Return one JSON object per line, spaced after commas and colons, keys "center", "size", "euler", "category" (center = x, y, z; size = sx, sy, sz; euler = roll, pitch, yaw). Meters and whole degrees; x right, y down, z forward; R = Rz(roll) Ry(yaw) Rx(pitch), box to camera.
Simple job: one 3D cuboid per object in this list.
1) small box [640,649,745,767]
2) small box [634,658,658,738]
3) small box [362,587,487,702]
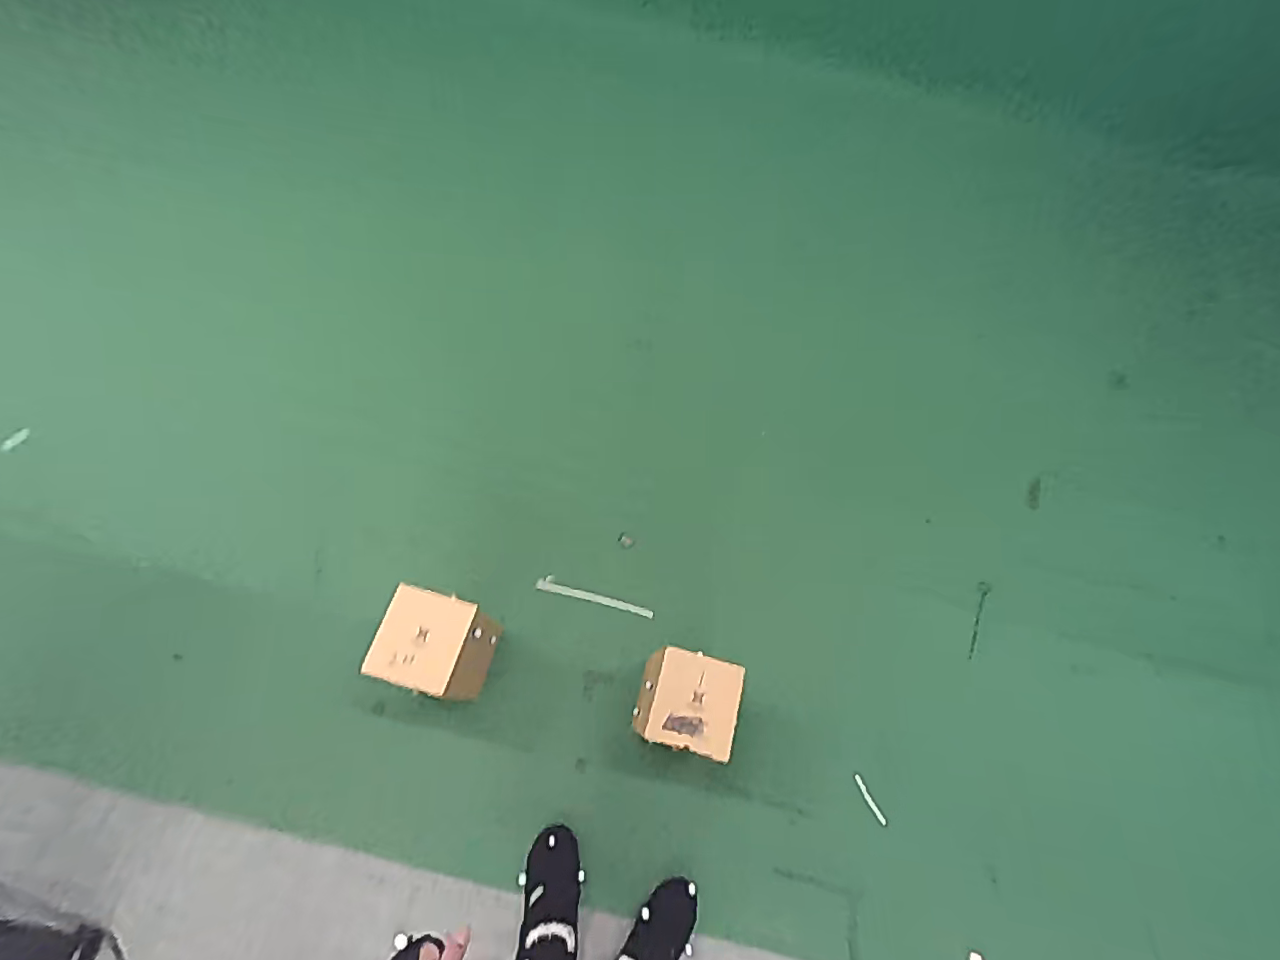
{"center": [0.101, 0.464, 1.110], "size": [0.168, 0.176, 0.179], "euler": [17, 67, 1], "category": "small box"}
{"center": [0.086, 0.526, 1.261], "size": [0.168, 0.176, 0.179], "euler": [16, 67, 1], "category": "small box"}
{"center": [-0.426, 0.342, 1.110], "size": [0.168, 0.176, 0.179], "euler": [16, 66, 2], "category": "small box"}
